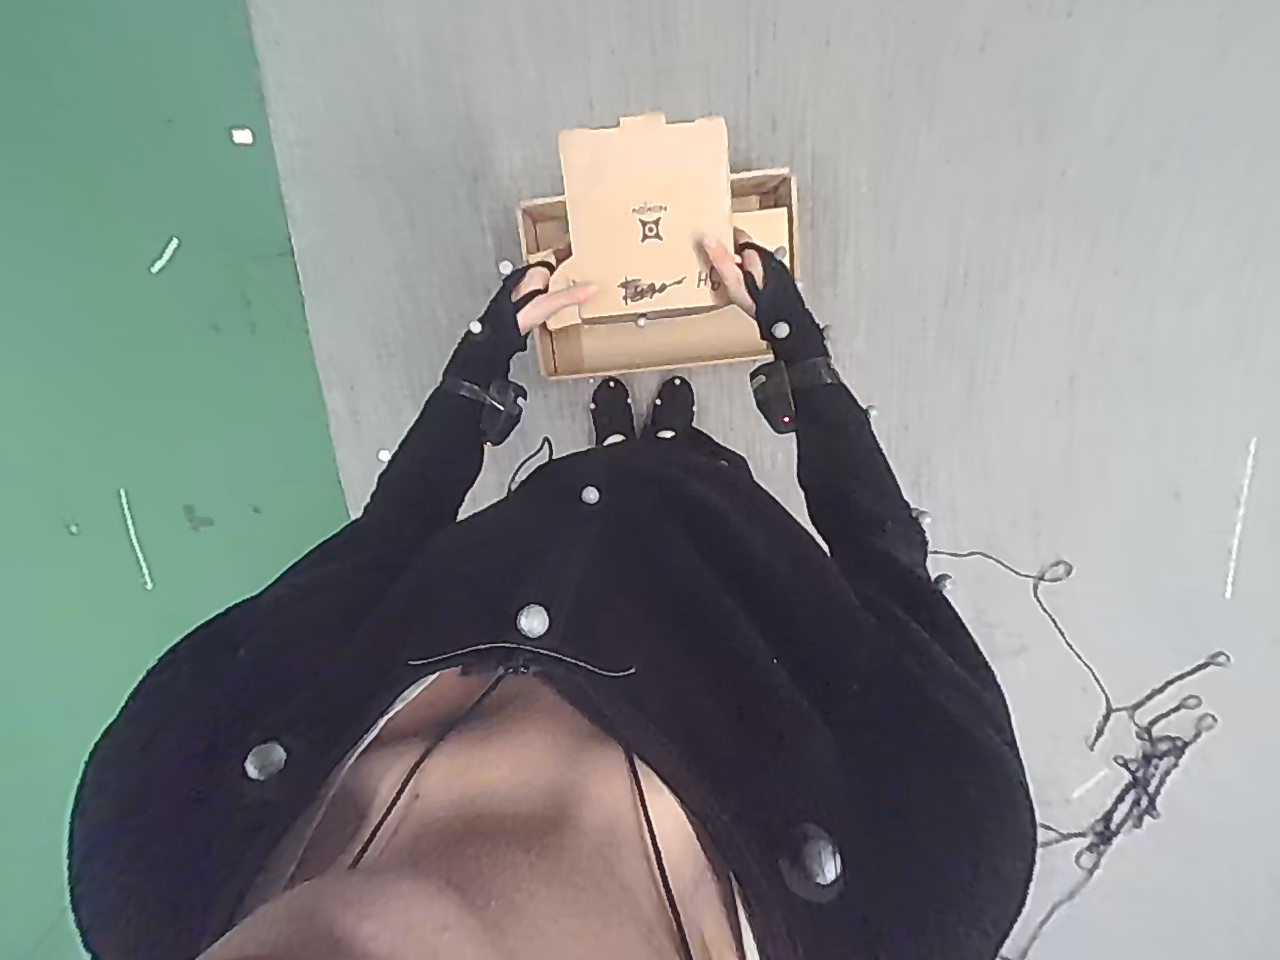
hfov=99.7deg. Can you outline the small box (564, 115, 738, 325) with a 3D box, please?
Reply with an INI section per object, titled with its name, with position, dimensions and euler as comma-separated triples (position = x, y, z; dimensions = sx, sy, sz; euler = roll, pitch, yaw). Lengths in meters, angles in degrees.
[small box]
position = 0.007, -0.276, 0.611
dimensions = 0.168, 0.176, 0.179
euler = -6, 103, -2
